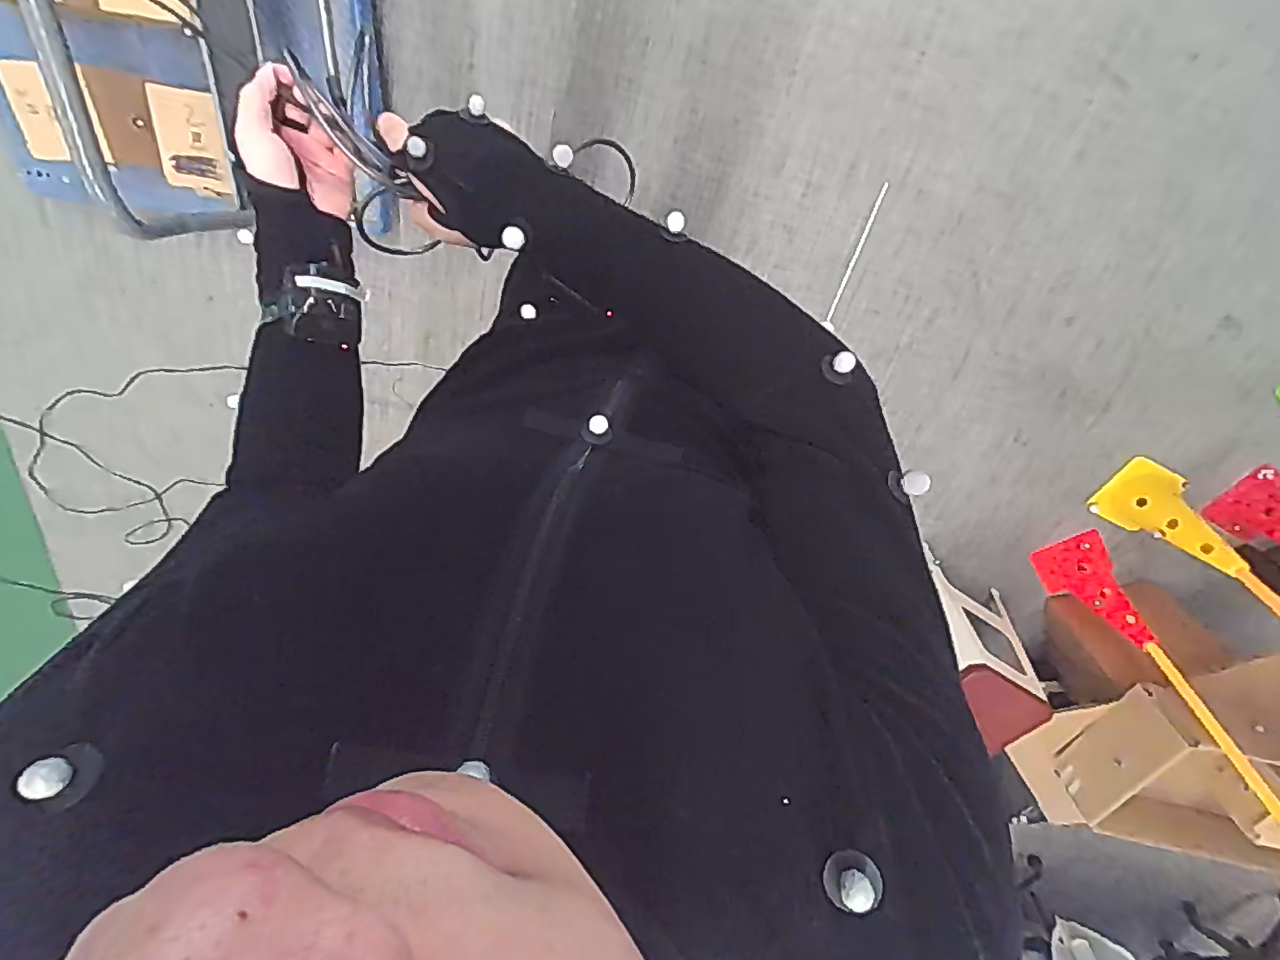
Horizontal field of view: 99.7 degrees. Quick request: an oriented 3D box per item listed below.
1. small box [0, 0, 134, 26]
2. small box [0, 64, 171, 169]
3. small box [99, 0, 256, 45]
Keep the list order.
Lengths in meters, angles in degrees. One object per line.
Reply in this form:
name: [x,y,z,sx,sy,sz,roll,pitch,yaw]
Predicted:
small box: [-1.116,-0.976,1.009,0.179,0.176,0.168,5,120,1]
small box: [-1.142,-0.754,1.134,0.179,0.176,0.168,4,118,2]
small box: [-0.871,-0.941,1.009,0.179,0.176,0.168,9,119,1]
